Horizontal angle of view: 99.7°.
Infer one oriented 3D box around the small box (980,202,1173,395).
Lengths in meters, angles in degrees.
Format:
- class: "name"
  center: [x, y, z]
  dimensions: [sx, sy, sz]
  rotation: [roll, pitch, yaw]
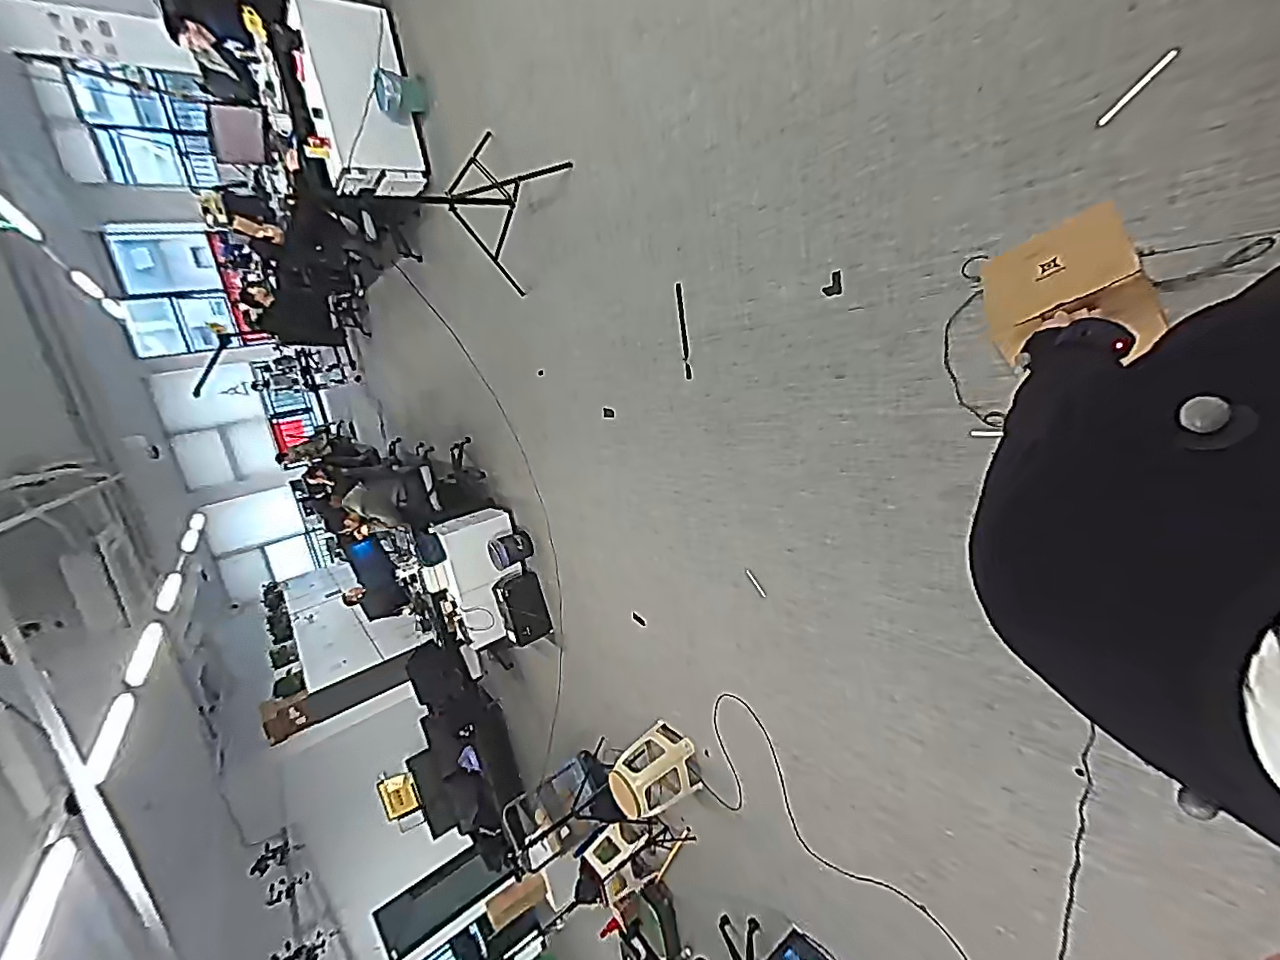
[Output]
- class: "small box"
  center: [0.623, -0.246, 0.781]
  dimensions: [0.176, 0.179, 0.168]
  rotation: [37, 142, -27]
